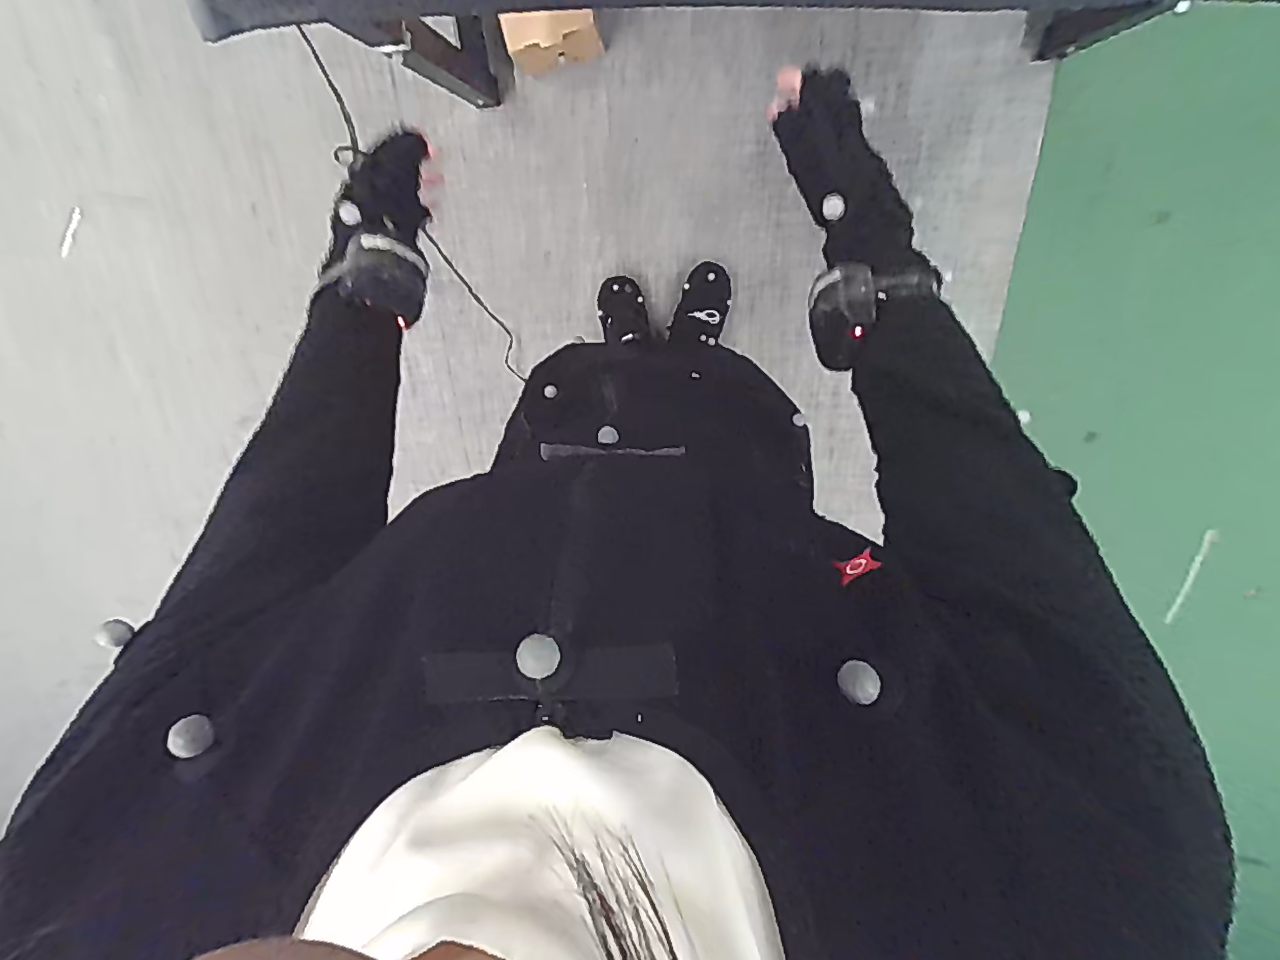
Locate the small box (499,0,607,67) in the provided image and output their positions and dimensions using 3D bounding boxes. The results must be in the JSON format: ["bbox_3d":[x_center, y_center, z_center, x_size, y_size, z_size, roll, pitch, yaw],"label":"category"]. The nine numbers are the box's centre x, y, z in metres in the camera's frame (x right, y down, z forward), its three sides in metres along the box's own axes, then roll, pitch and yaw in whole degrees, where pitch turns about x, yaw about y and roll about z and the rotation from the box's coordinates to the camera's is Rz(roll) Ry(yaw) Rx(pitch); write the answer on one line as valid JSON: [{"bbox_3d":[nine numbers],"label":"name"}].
[{"bbox_3d":[-0.165,-0.901,1.006,0.168,0.176,0.179,-9,115,8],"label":"small box"}]
